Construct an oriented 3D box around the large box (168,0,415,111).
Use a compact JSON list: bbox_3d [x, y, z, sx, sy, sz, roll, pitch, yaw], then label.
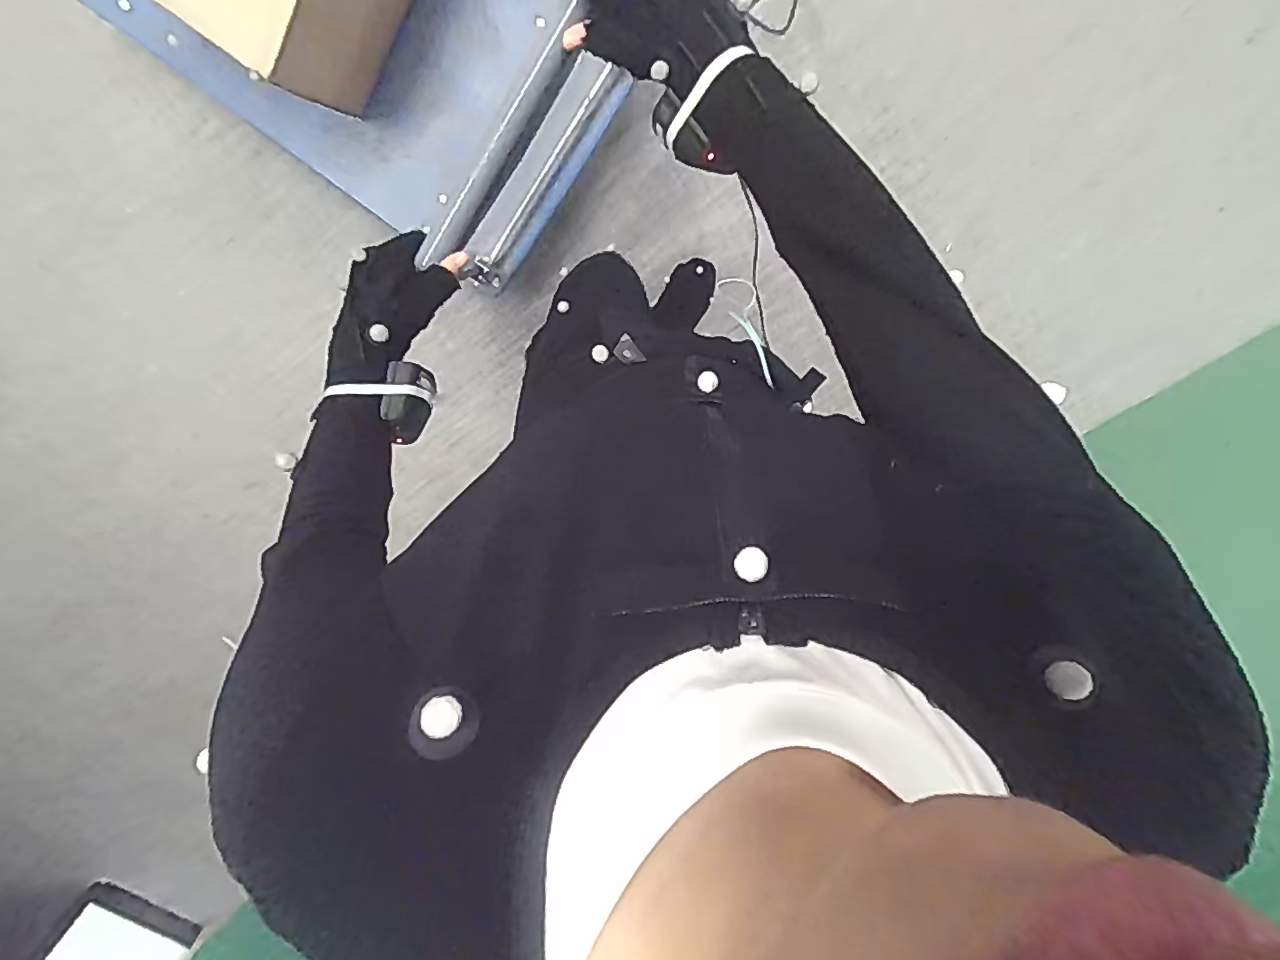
[{"bbox_3d":[-0.517,-0.851,0.782,0.320,0.320,0.408,32,111,-15],"label":"large box"}]
